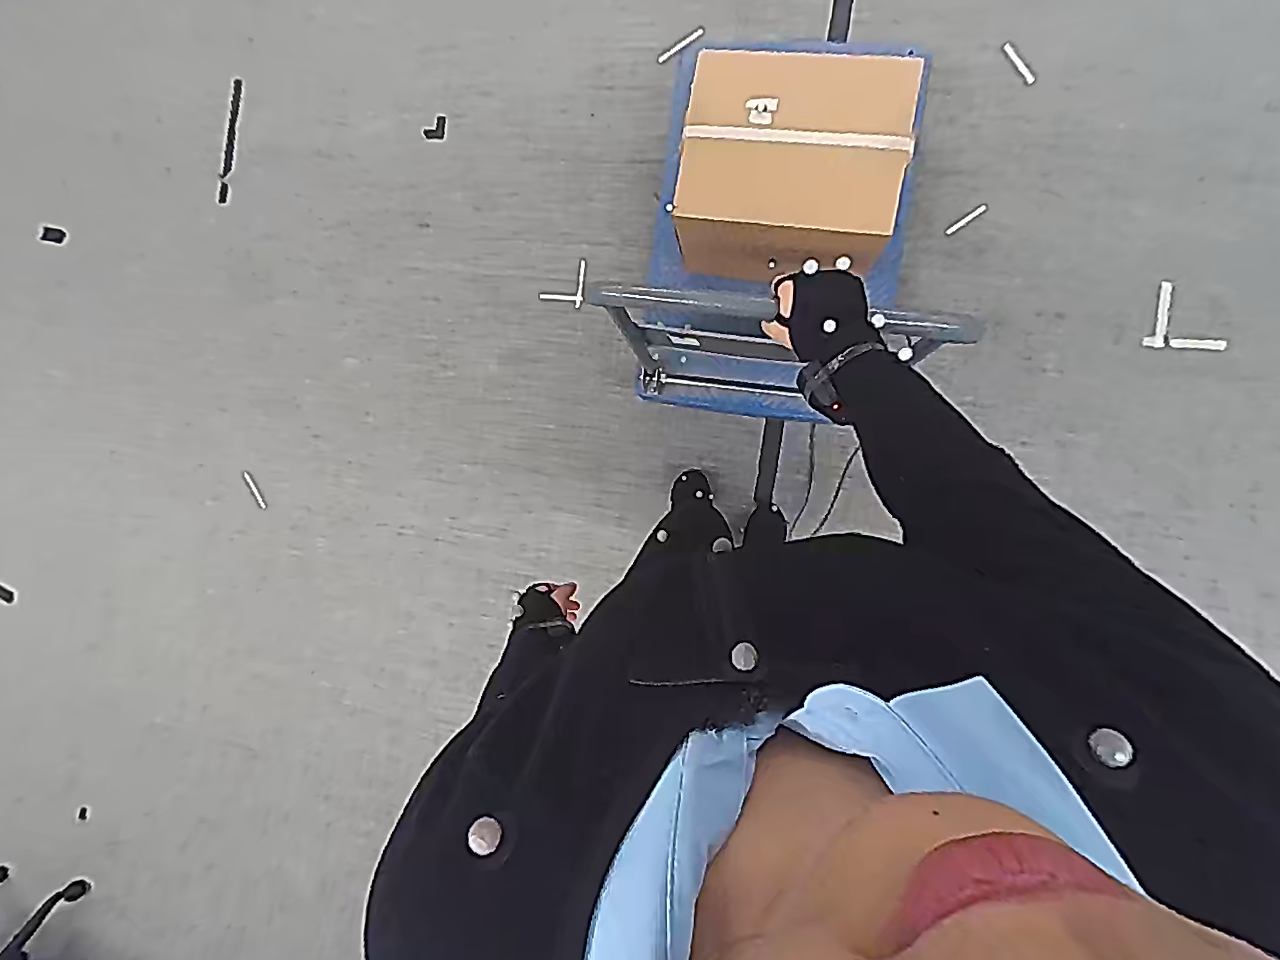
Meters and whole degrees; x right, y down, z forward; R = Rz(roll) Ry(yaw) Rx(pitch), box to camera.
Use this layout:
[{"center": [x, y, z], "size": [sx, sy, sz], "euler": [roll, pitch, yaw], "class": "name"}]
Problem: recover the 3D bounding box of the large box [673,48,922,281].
[{"center": [0.306, -0.627, 1.122], "size": [0.408, 0.320, 0.320], "euler": [10, 92, 11], "class": "large box"}]
